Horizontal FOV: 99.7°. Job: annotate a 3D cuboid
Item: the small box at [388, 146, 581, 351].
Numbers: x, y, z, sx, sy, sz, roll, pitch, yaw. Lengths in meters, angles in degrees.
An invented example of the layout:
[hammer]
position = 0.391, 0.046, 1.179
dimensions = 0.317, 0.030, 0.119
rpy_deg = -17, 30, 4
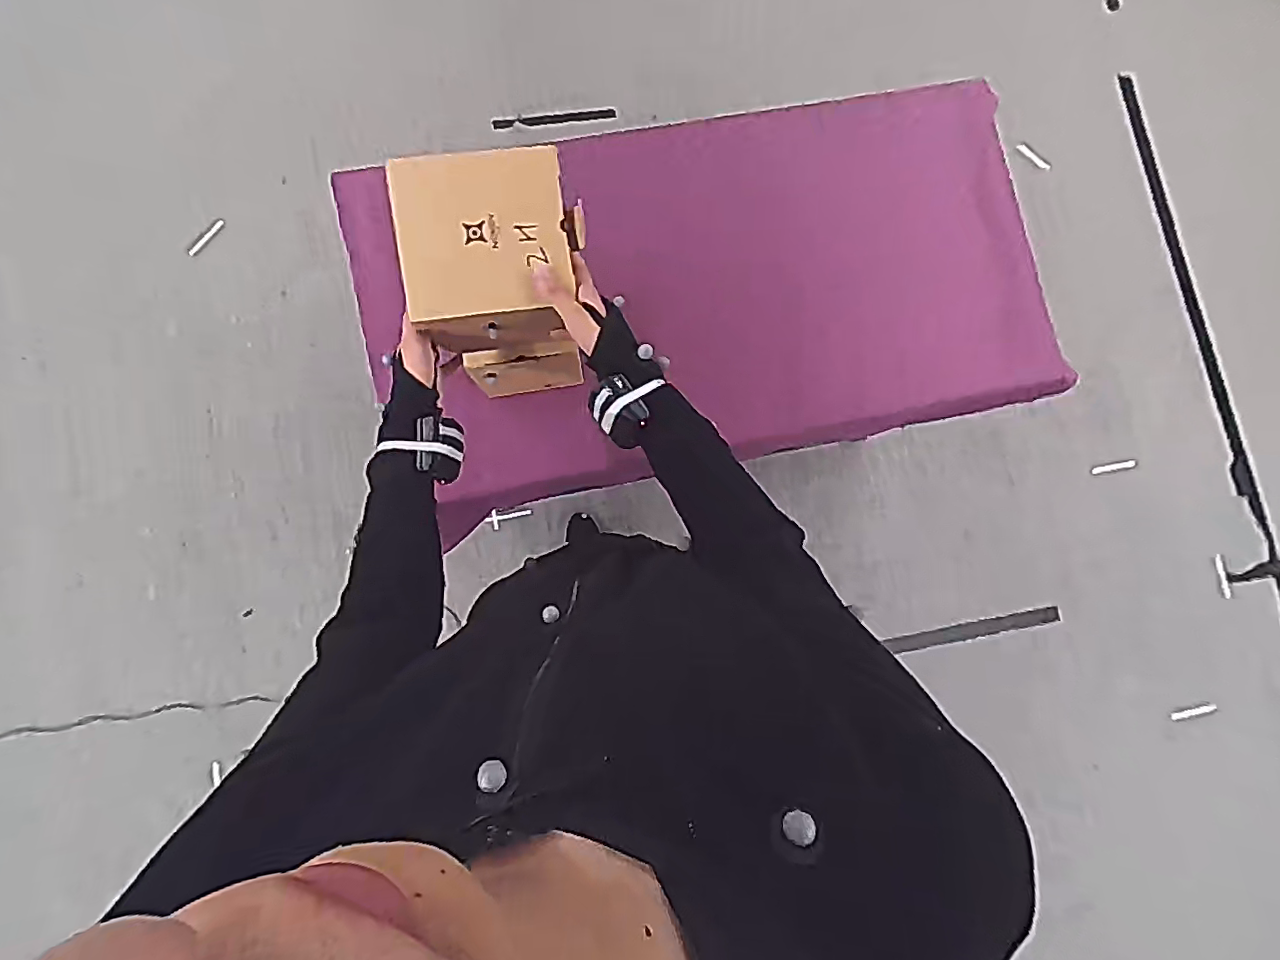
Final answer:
[small box]
position = -0.167, -0.257, 0.638
dimensions = 0.179, 0.176, 0.168
rpy_deg = -9, 93, -5
